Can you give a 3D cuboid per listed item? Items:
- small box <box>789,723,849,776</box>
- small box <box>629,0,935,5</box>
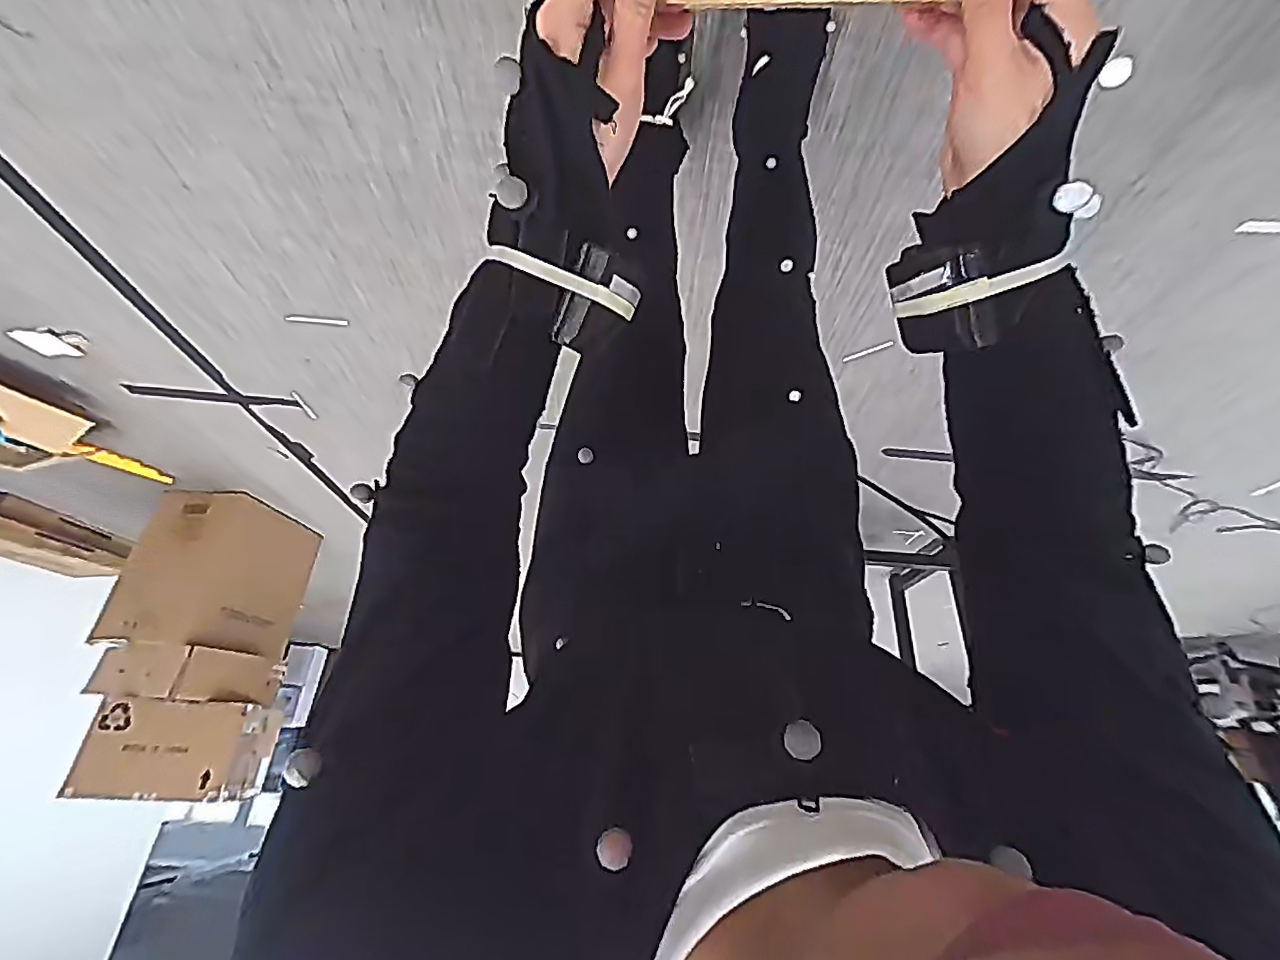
[{"bbox_3d":[0.683,1.039,2.086,0.168,0.176,0.179,5,152,-4],"label":"small box"},{"bbox_3d":[0.079,-0.348,0.235,0.179,0.176,0.168,1,153,2],"label":"small box"}]
